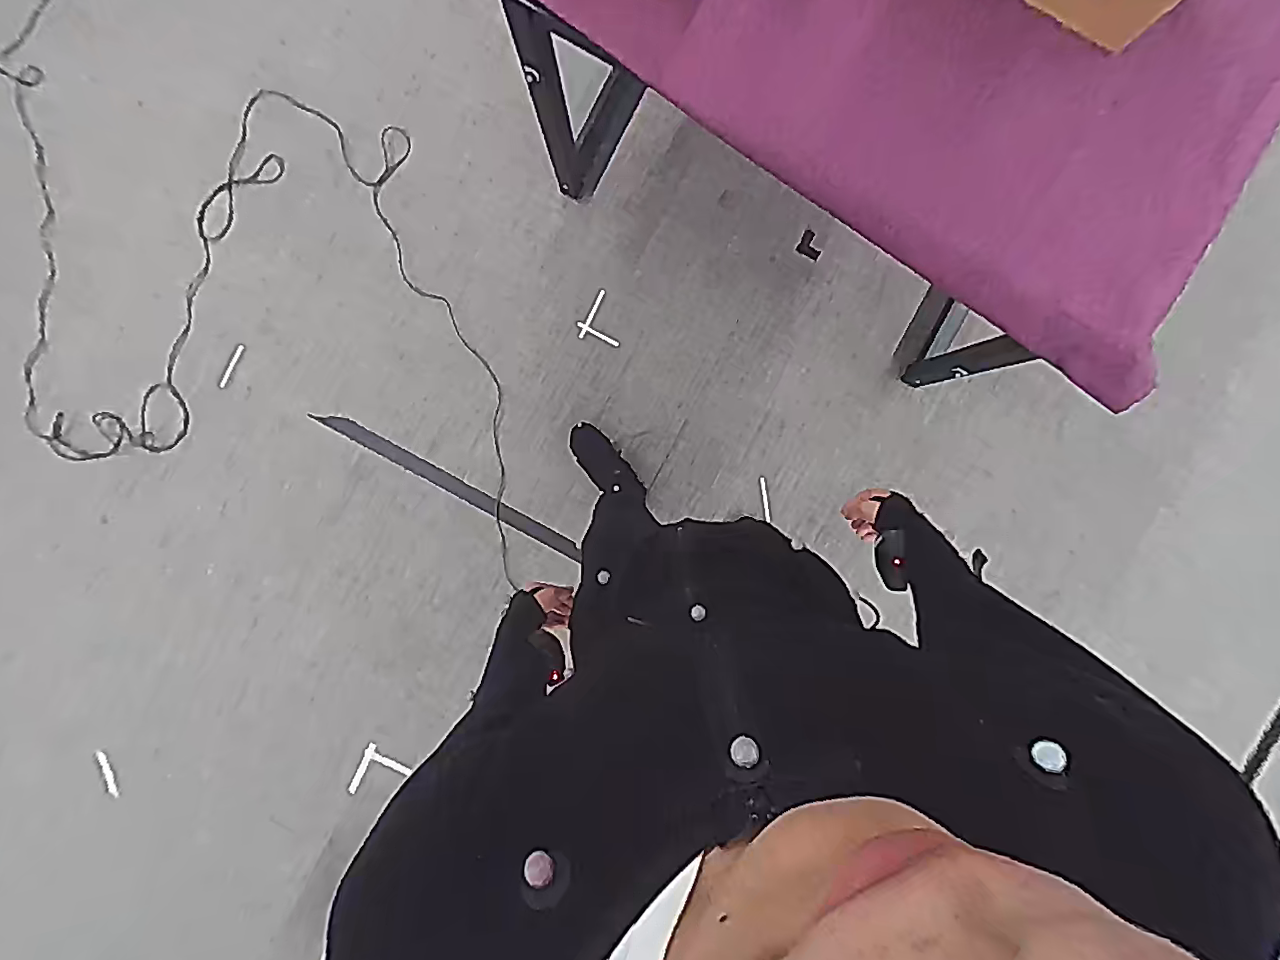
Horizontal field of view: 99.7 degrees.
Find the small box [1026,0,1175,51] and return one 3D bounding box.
[{"bbox_3d":[0.701,-0.764,0.758,0.179,0.176,0.168,30,95,0],"label":"small box"}]
